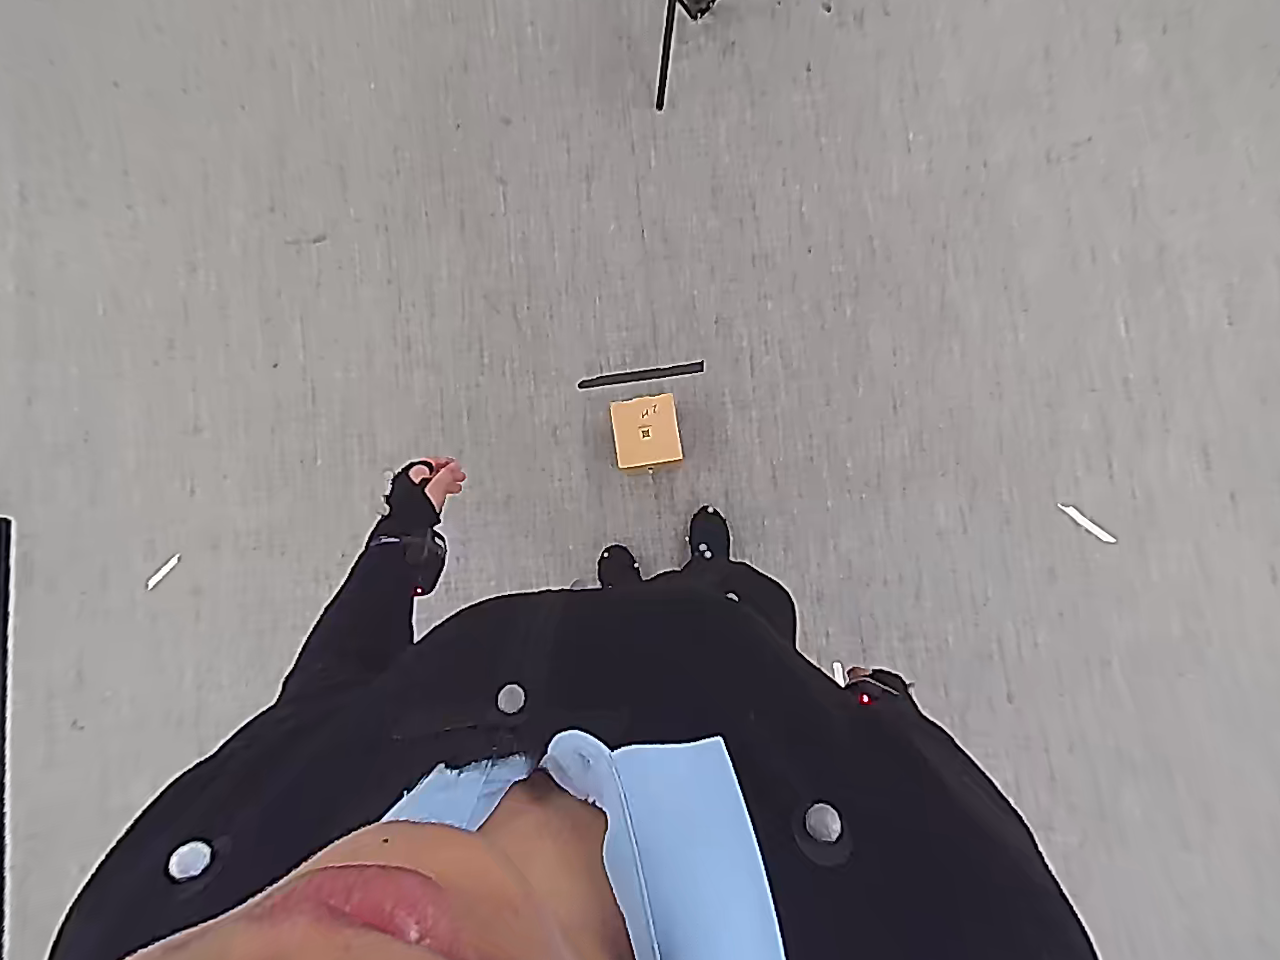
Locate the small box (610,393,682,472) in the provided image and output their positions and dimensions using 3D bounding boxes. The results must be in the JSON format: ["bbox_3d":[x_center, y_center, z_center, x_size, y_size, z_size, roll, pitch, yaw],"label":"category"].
[{"bbox_3d":[0.021,-0.120,1.445,0.168,0.176,0.179,-8,84,3],"label":"small box"}]
